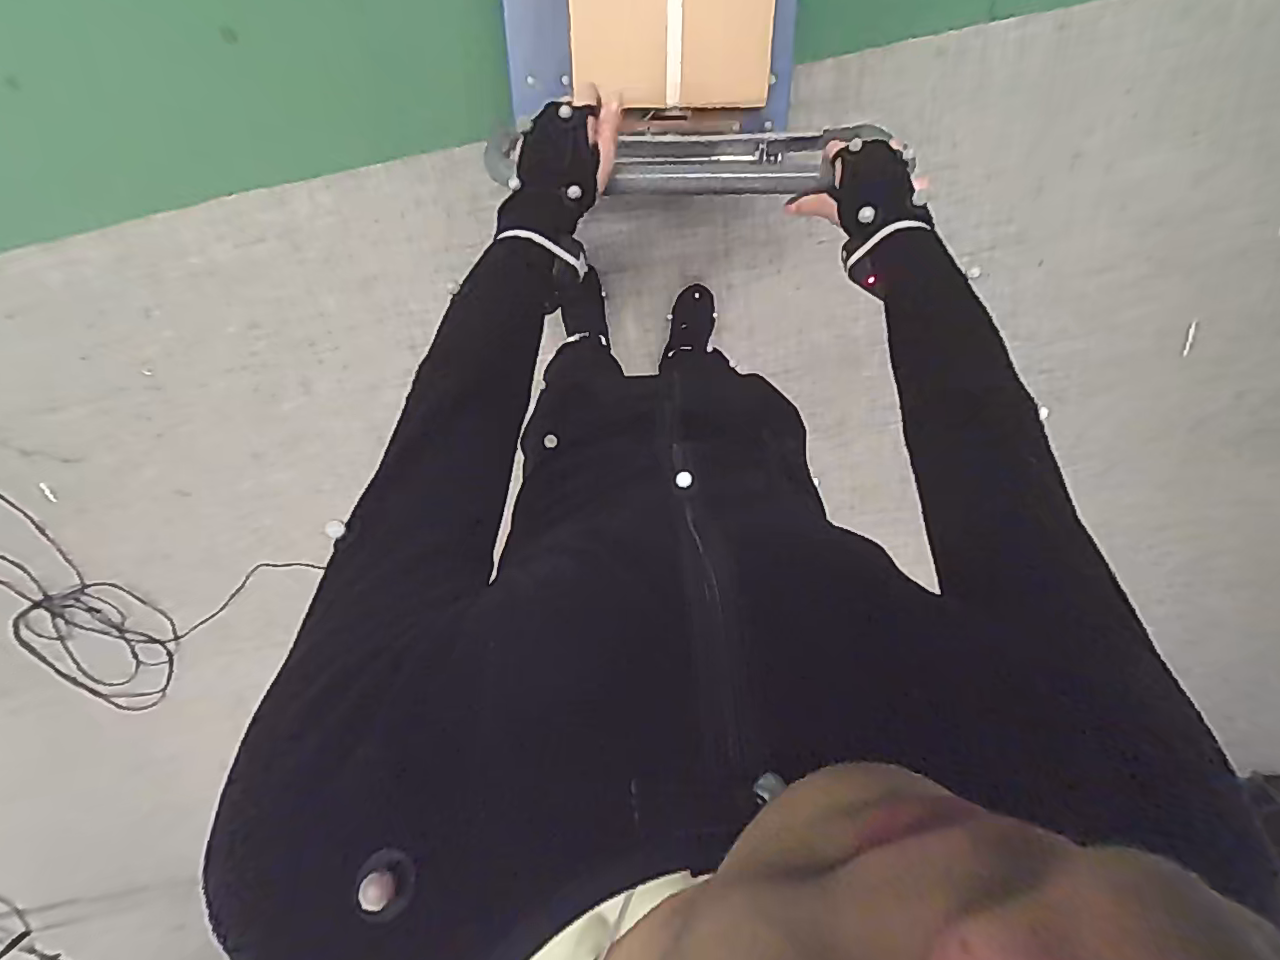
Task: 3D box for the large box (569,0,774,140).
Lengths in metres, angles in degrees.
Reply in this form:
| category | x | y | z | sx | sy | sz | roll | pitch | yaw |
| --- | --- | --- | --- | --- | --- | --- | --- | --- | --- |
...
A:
| category | x | y | z | sx | sy | sz | roll | pitch | yaw |
| --- | --- | --- | --- | --- | --- | --- | --- | --- | --- |
| large box | 0.041 | -0.835 | 0.918 | 0.320 | 0.320 | 0.408 | -2 | 116 | -3 |
